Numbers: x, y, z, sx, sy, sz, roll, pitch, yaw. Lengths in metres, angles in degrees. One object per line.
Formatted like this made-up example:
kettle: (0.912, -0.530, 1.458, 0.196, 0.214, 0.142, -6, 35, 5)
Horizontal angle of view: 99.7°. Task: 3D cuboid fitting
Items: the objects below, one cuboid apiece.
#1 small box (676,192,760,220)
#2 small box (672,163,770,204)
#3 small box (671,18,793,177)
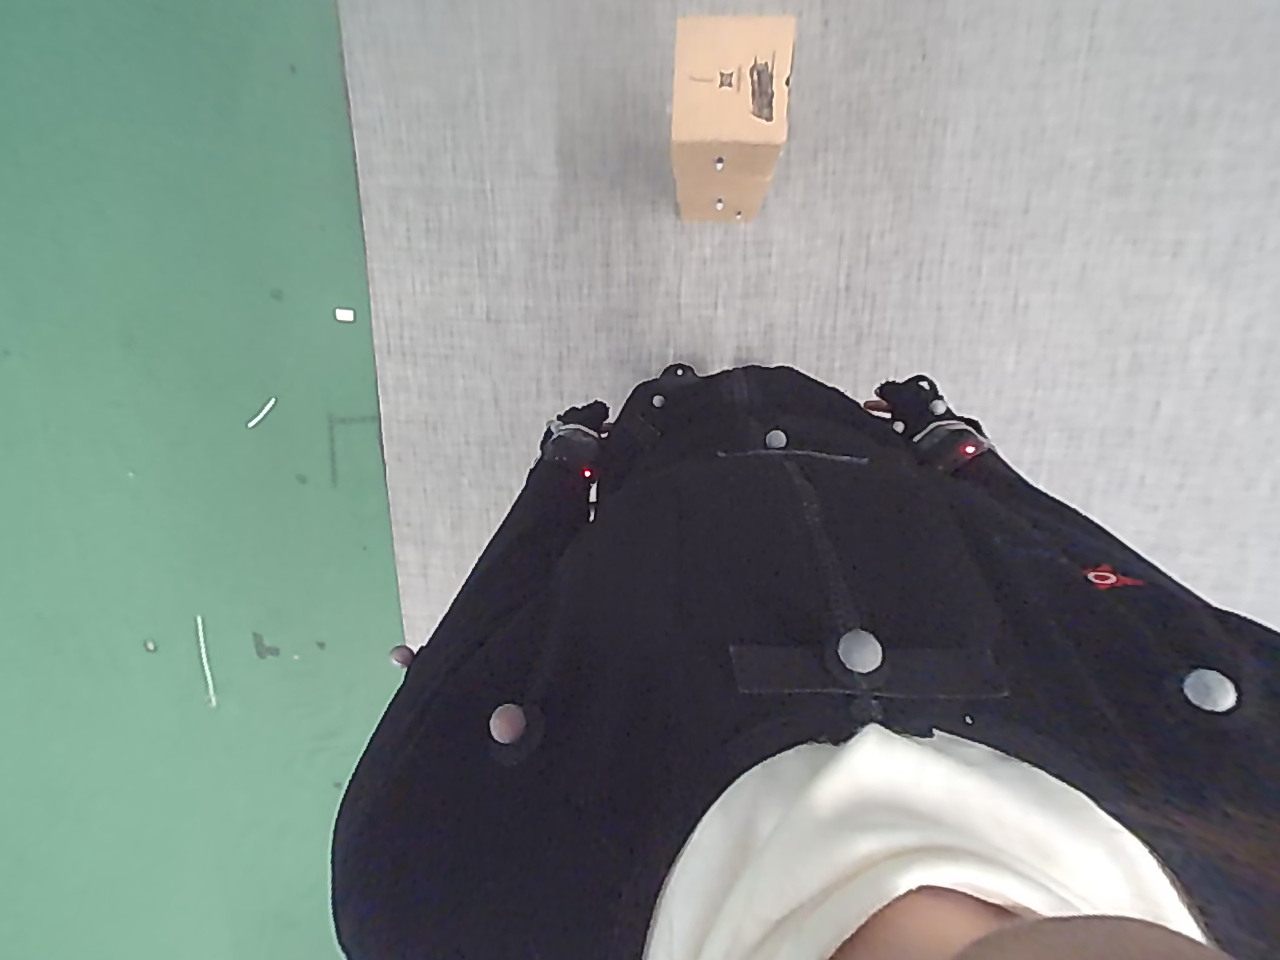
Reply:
small box: (0.173, -0.687, 1.202, 0.179, 0.176, 0.168, 2, 102, 6)
small box: (0.158, -0.645, 1.044, 0.179, 0.176, 0.168, 6, 103, 3)
small box: (0.140, -0.611, 0.884, 0.179, 0.176, 0.168, 1, 103, 4)
